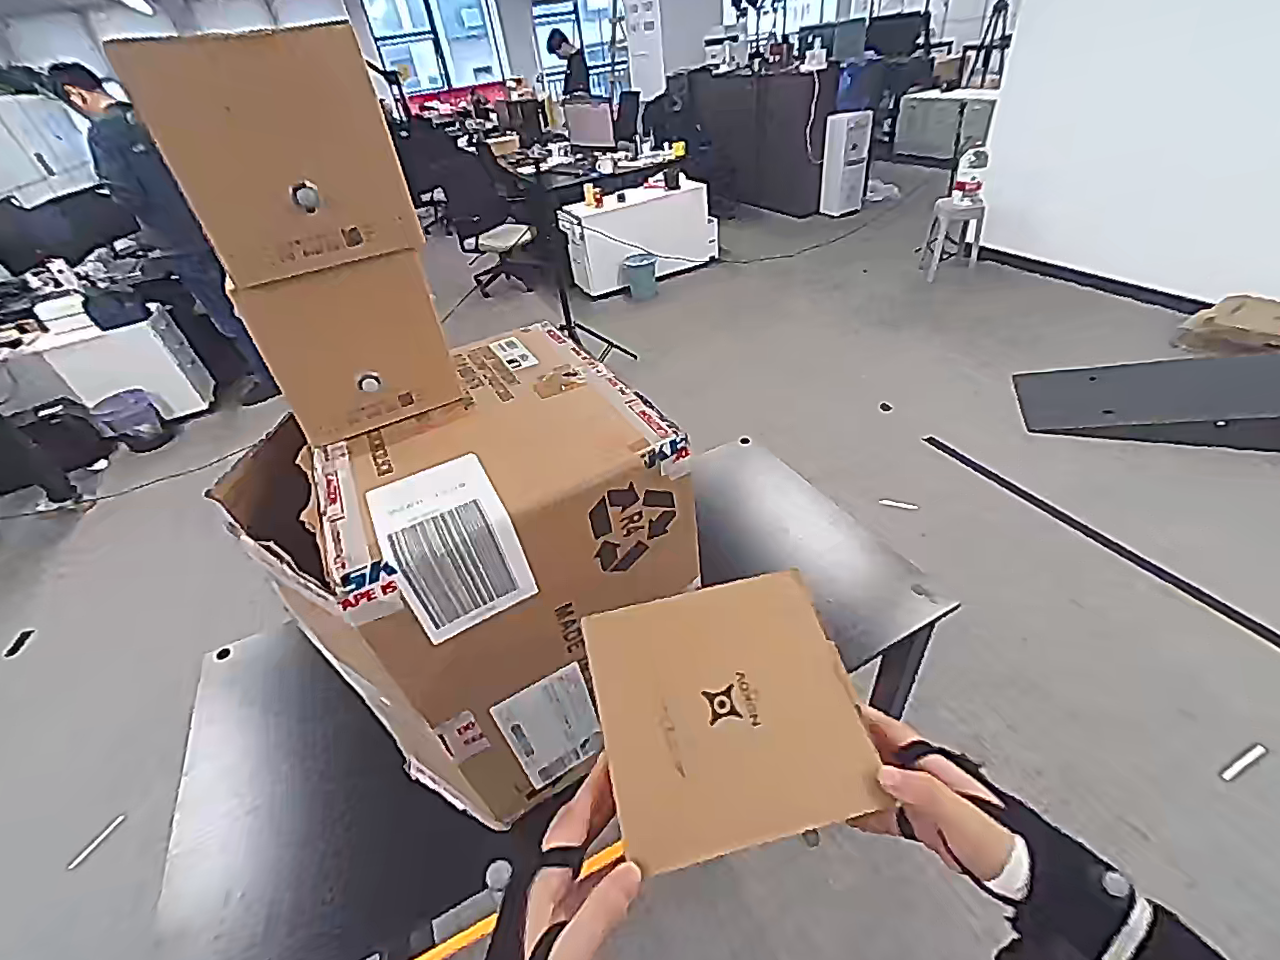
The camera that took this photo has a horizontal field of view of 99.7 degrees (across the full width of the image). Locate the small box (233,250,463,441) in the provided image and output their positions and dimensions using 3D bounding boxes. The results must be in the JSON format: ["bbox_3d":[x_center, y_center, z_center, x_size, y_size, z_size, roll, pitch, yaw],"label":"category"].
[{"bbox_3d":[-0.322,-0.168,0.612,0.168,0.176,0.179,-25,40,-21],"label":"small box"}]

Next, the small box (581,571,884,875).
[{"bbox_3d":[0.057,0.199,0.447,0.179,0.176,0.168,-13,57,-7],"label":"small box"}]

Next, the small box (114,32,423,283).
[{"bbox_3d":[-0.330,-0.298,0.509,0.168,0.176,0.179,-26,40,-22],"label":"small box"}]
